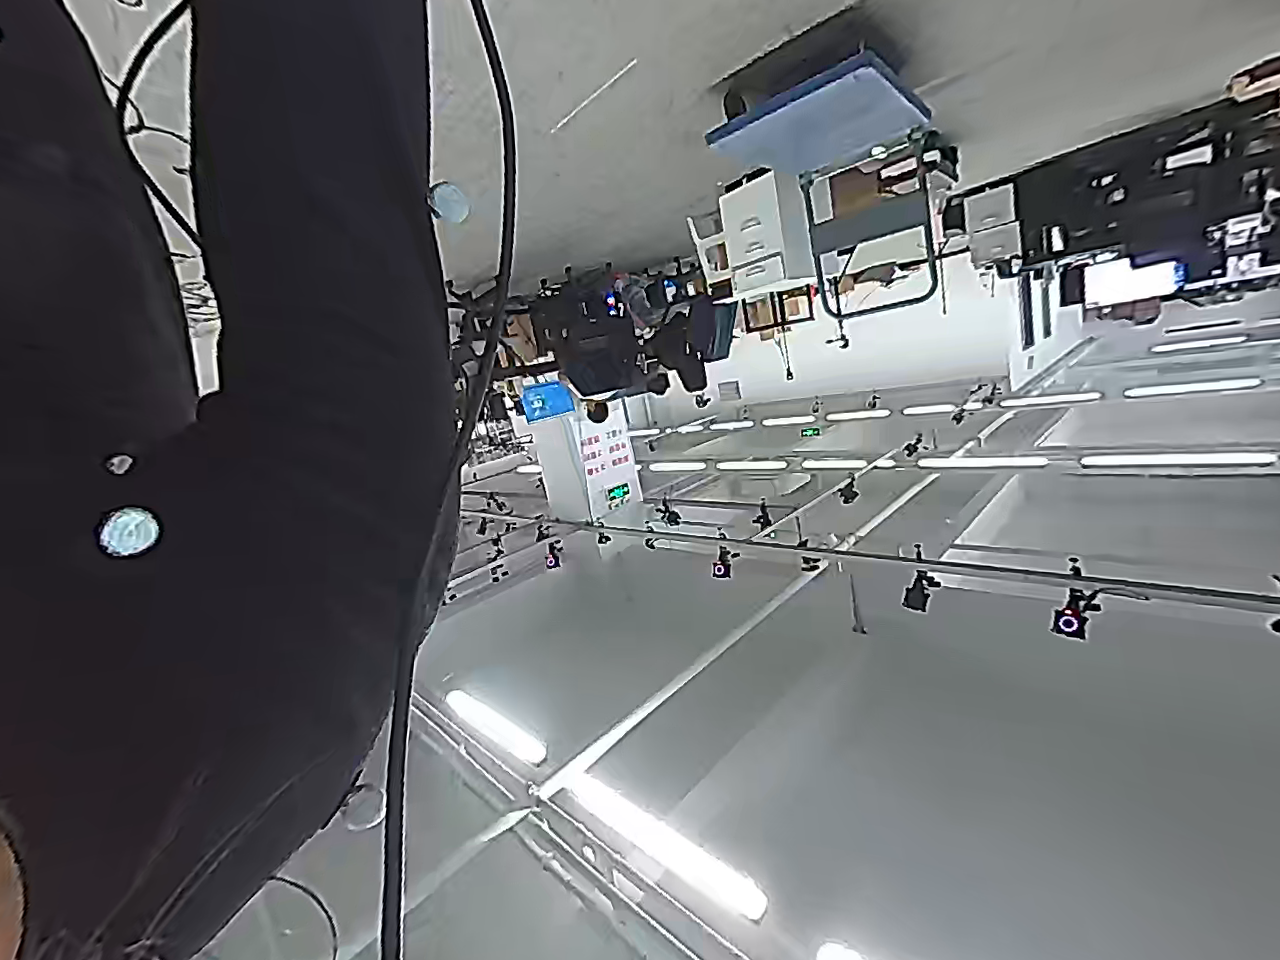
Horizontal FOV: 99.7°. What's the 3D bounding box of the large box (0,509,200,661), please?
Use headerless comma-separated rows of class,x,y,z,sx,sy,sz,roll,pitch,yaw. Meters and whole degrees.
large box,-1.720,0.308,1.722,0.320,0.320,0.408,0,-162,45
